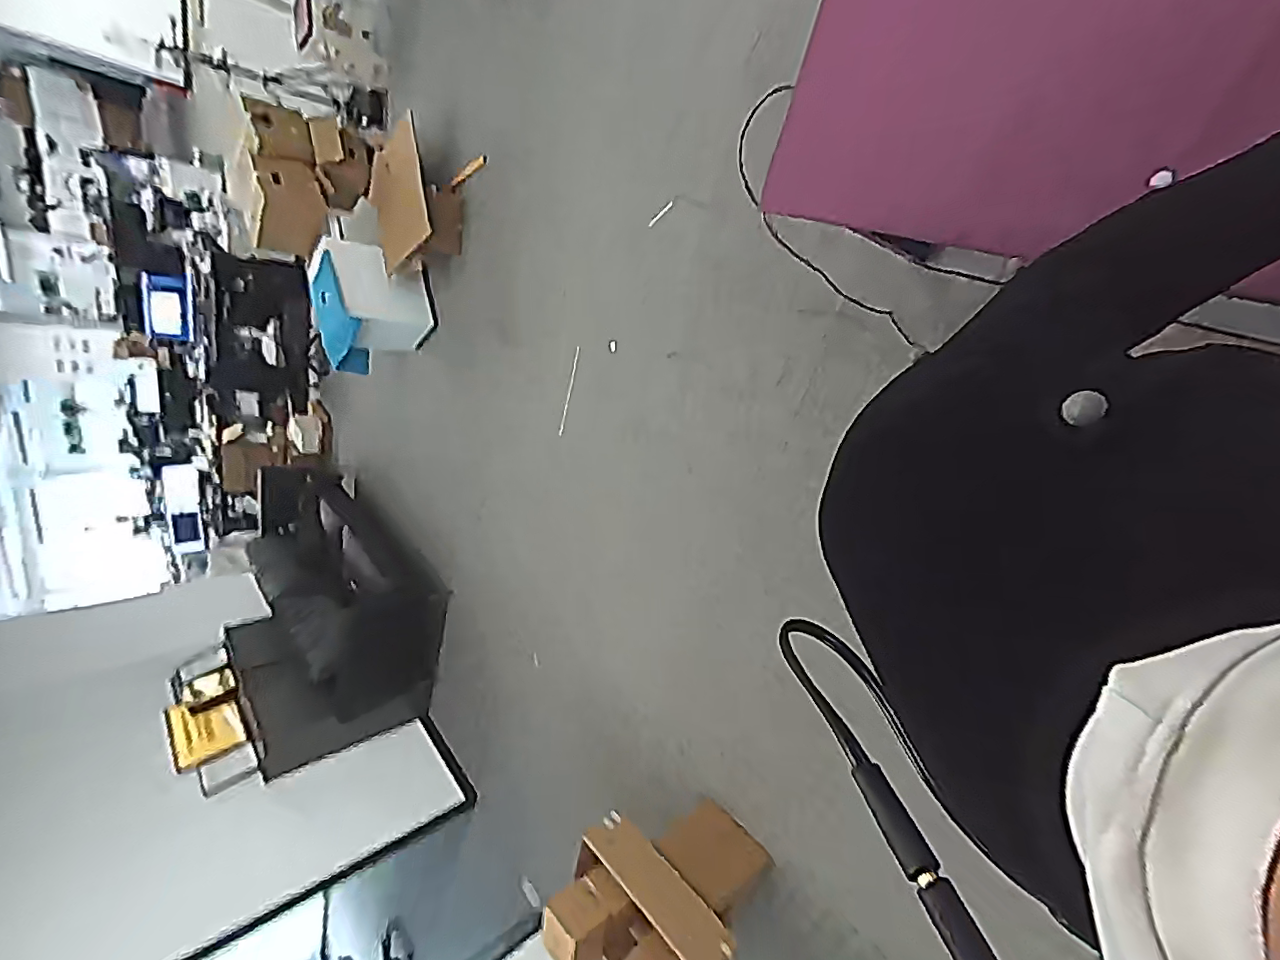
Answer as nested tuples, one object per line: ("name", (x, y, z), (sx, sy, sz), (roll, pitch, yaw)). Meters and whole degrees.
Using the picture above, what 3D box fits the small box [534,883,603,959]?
("small box", (-0.242, 1.547, 1.851), (0.168, 0.176, 0.179), (18, 107, 41))
